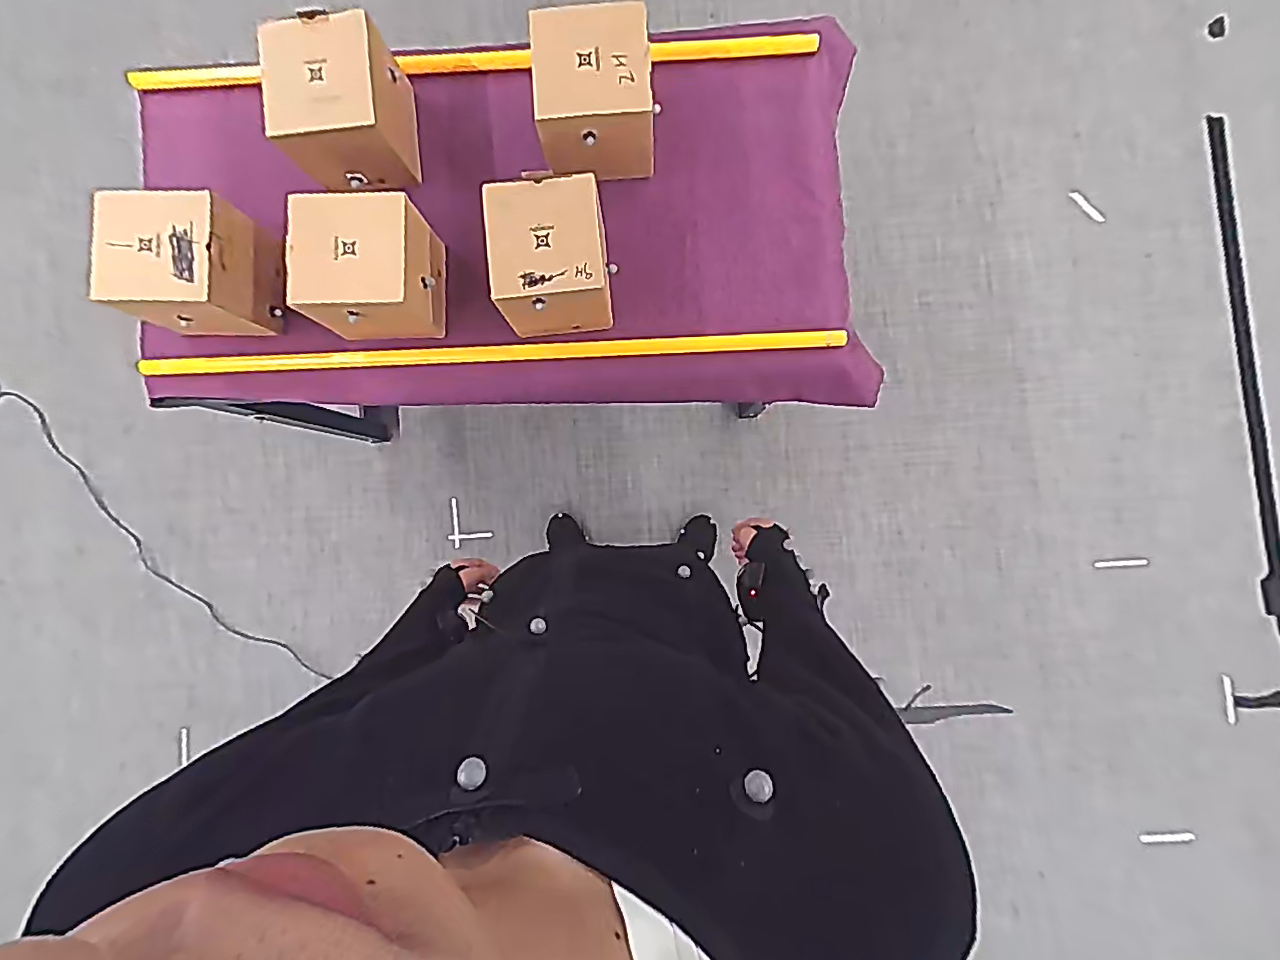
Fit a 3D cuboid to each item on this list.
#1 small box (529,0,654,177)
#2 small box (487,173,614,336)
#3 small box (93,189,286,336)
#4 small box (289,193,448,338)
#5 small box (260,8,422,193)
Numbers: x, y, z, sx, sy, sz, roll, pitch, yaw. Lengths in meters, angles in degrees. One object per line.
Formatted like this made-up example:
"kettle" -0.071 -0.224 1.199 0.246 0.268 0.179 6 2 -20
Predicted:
"small box" -0.069 -0.607 0.862 0.179 0.176 0.168 -3 89 1
"small box" -0.134 -0.346 0.854 0.168 0.176 0.179 -5 85 1
"small box" -0.702 -0.336 0.863 0.179 0.176 0.168 1 88 1
"small box" -0.418 -0.331 0.860 0.179 0.176 0.168 0 87 2
"small box" -0.470 -0.598 0.871 0.168 0.176 0.179 -6 89 2
